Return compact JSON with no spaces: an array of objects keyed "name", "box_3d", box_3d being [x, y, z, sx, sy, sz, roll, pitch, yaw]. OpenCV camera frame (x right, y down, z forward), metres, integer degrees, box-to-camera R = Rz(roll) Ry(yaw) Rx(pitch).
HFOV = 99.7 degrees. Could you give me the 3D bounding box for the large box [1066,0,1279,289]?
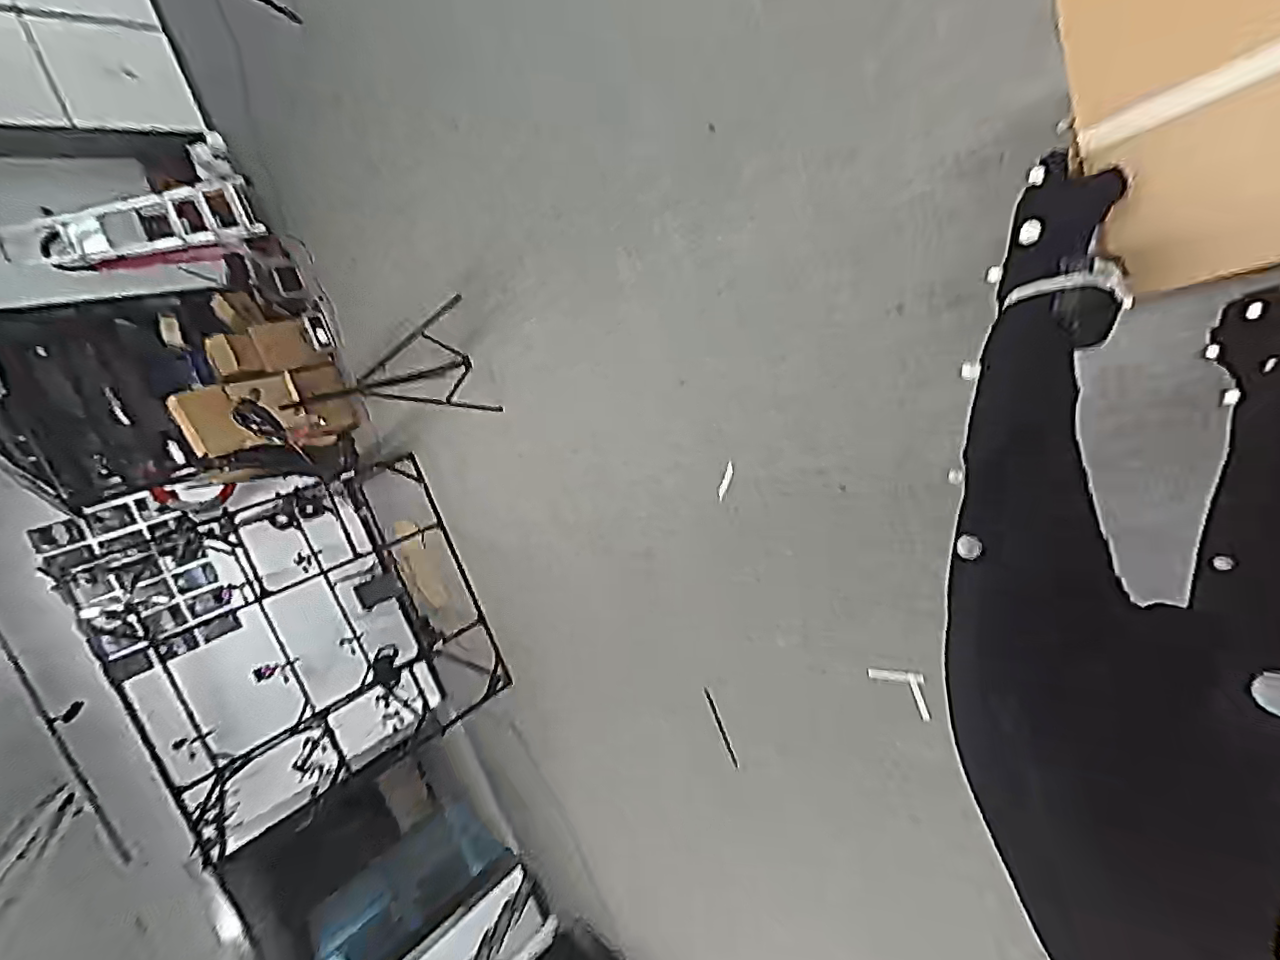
[{"name":"large box","box_3d":[0.675,-0.392,0.473,0.408,0.320,0.320,-8,97,50]}]
